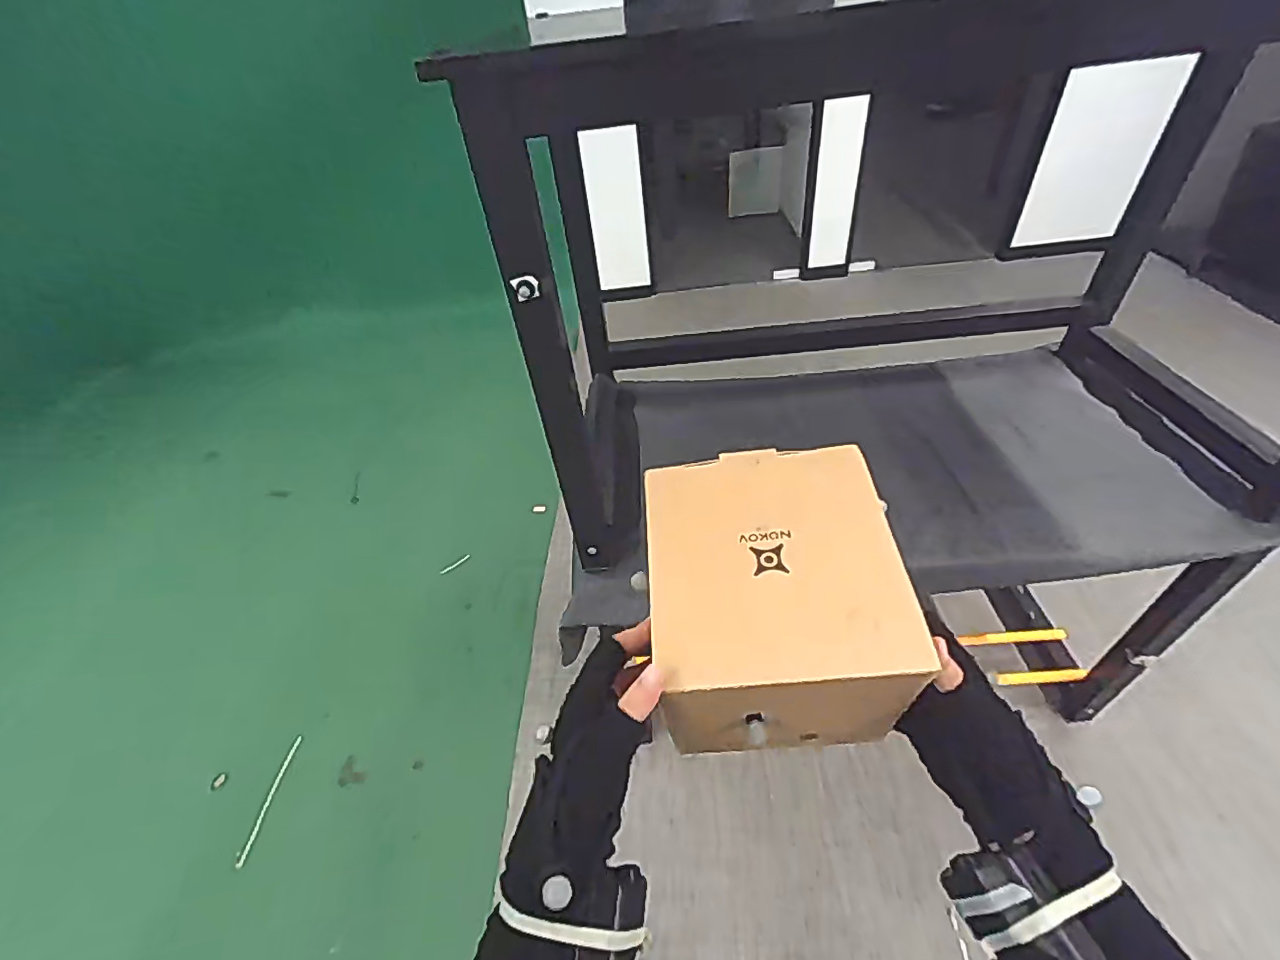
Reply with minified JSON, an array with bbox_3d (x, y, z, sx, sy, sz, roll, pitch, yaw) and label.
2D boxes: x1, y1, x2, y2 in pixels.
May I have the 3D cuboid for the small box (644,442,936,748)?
[{"bbox_3d":[0.099,0.098,0.423,0.168,0.176,0.179,-7,49,6],"label":"small box"}]
